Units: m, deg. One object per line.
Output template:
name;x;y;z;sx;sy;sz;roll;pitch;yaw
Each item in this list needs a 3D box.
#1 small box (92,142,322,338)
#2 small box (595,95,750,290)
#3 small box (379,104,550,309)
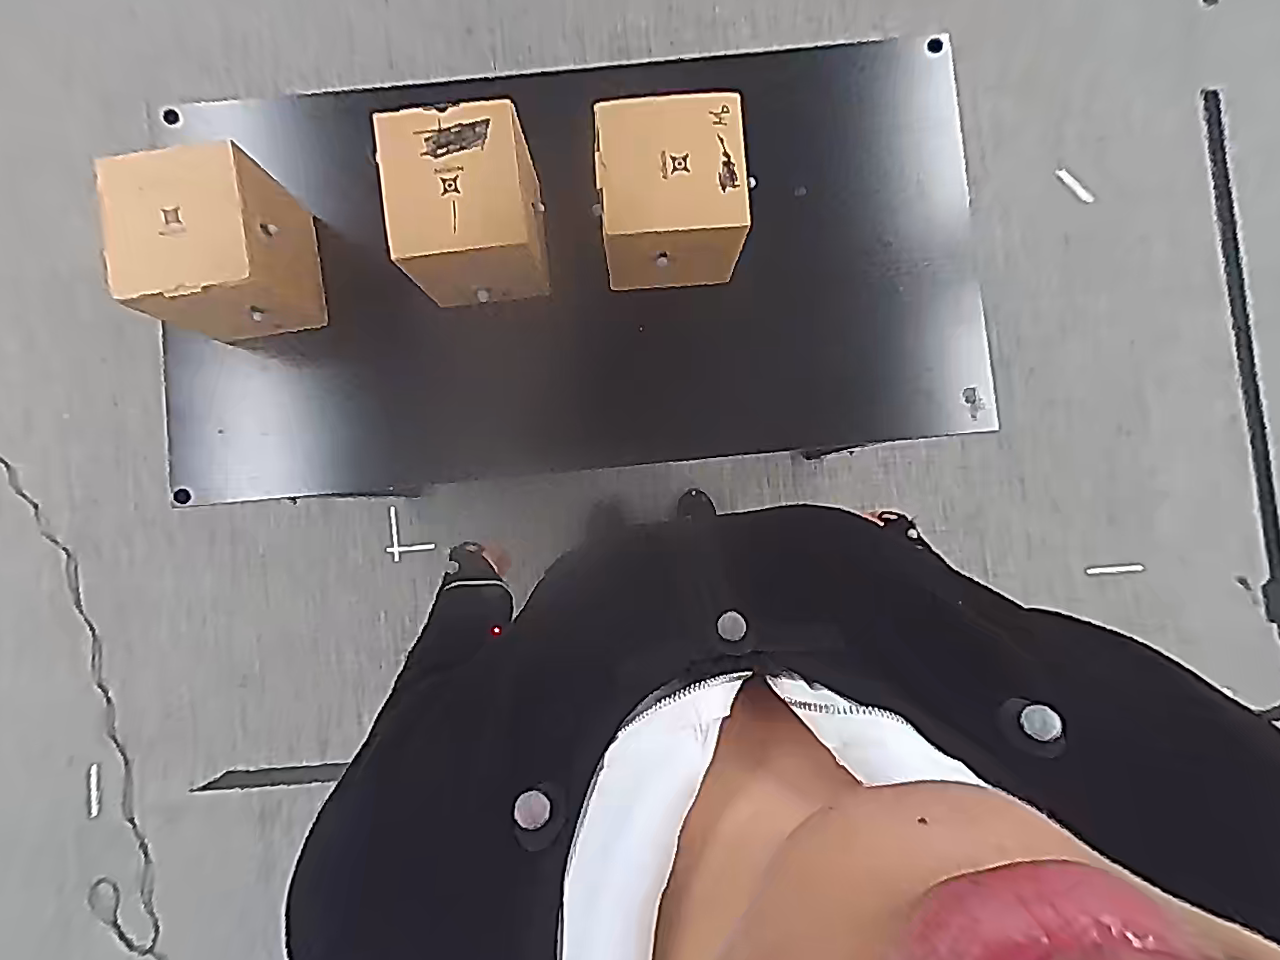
small box;-0.548;-0.297;0.710;0.168;0.176;0.179;-9;87;-2
small box;0.040;-0.364;0.714;0.179;0.176;0.168;-4;87;0
small box;-0.219;-0.346;0.712;0.168;0.176;0.179;-7;88;0
